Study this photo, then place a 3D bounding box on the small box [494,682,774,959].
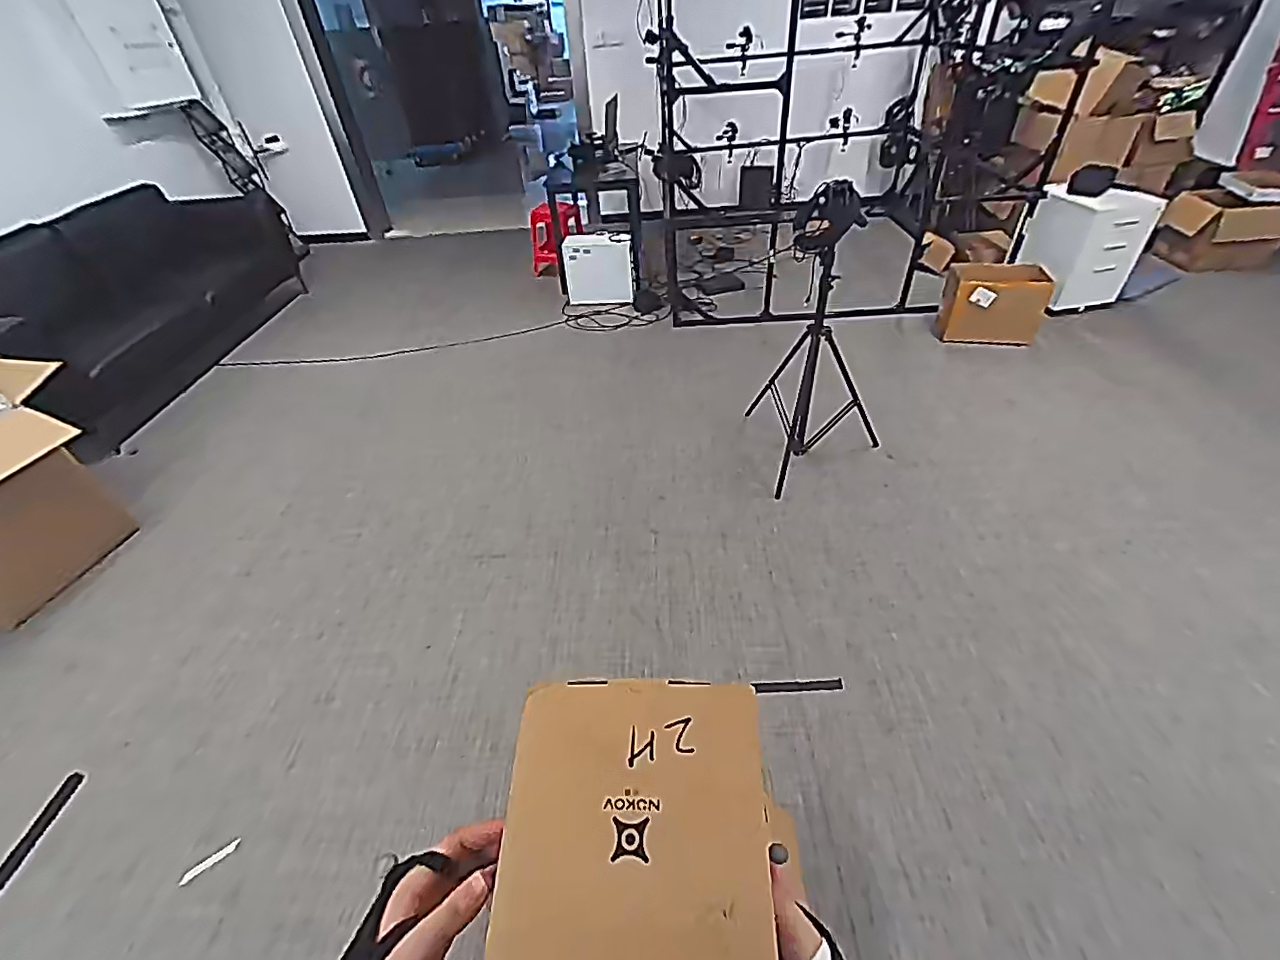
[{"bbox_3d":[0.006,0.267,0.411,0.168,0.176,0.179,-2,52,5],"label":"small box"}]
